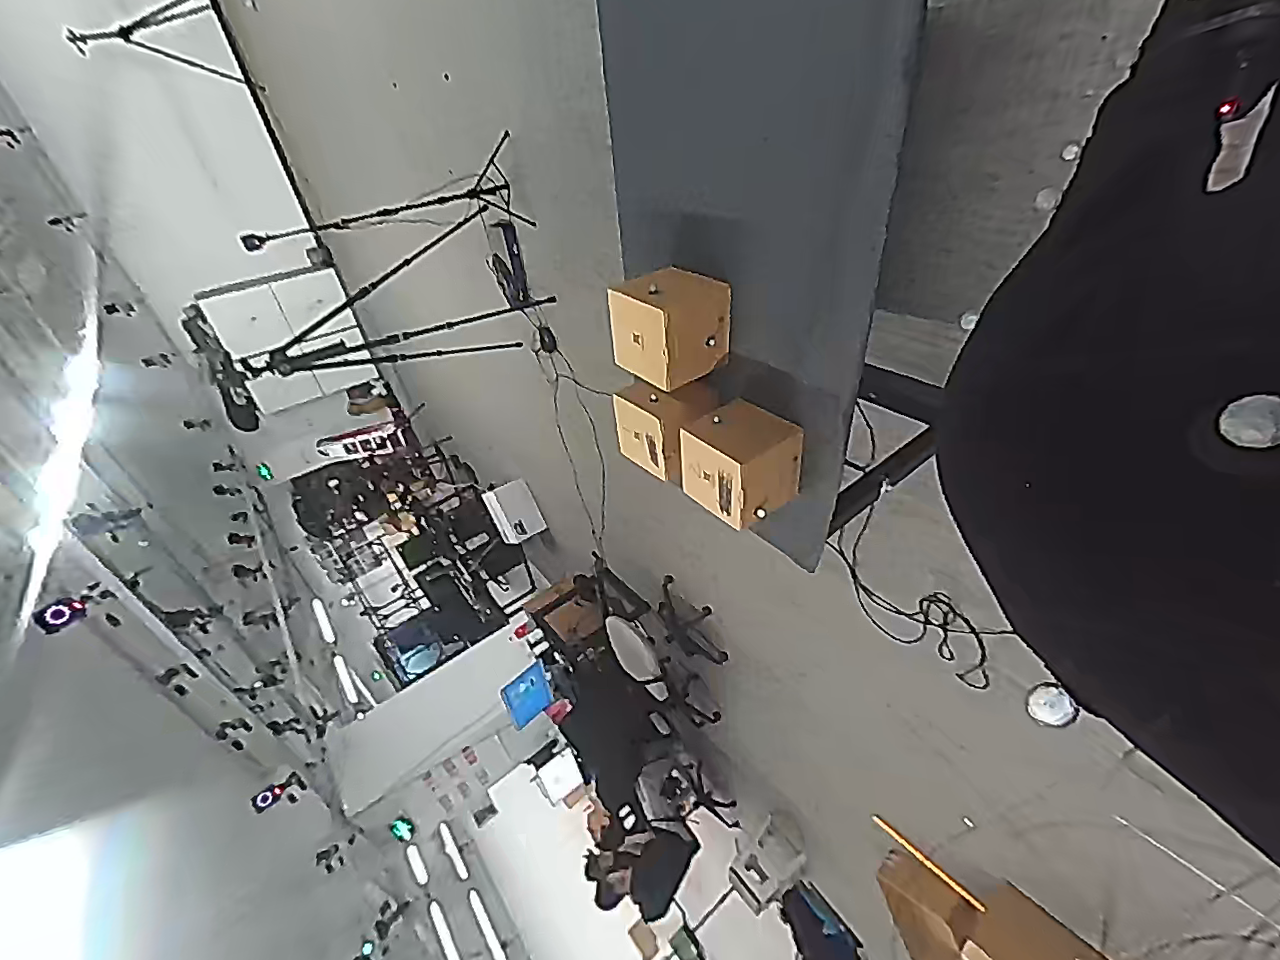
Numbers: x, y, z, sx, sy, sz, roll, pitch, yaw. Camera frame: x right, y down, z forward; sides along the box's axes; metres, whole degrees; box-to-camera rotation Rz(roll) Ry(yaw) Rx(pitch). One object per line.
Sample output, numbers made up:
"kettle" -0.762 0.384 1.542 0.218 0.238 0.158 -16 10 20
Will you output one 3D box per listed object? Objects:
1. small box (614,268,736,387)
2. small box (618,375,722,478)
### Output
"small box" 0.070 -0.315 1.091 0.179 0.176 0.168 35 144 39
"small box" 0.076 -0.137 1.253 0.179 0.176 0.168 35 144 42
